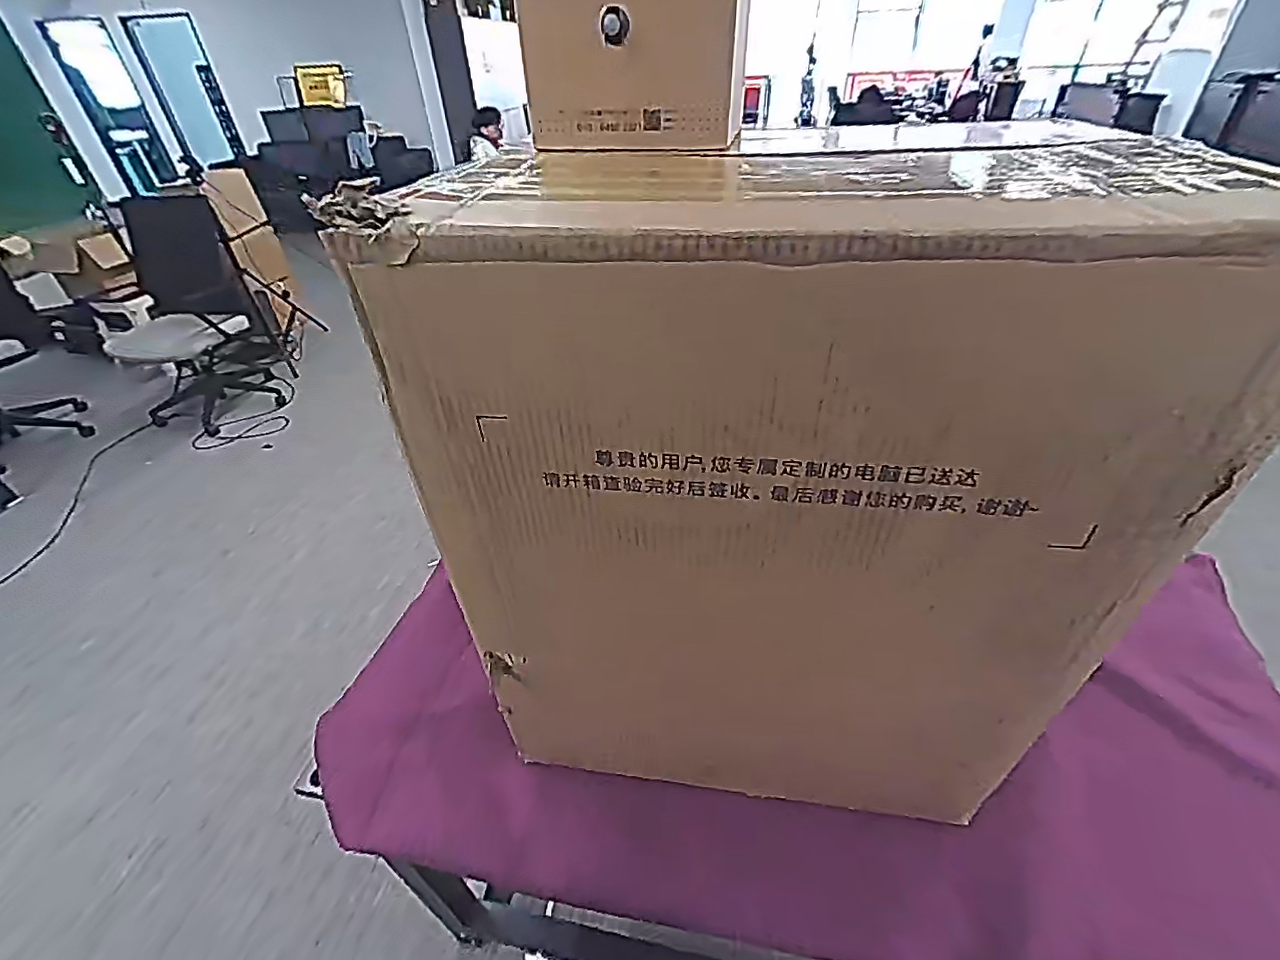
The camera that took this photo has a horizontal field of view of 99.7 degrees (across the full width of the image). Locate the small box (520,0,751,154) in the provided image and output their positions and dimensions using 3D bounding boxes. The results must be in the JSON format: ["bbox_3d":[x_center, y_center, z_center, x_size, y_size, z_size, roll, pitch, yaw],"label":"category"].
[{"bbox_3d":[0.006,-0.385,0.463,0.168,0.176,0.179,7,38,10],"label":"small box"}]
